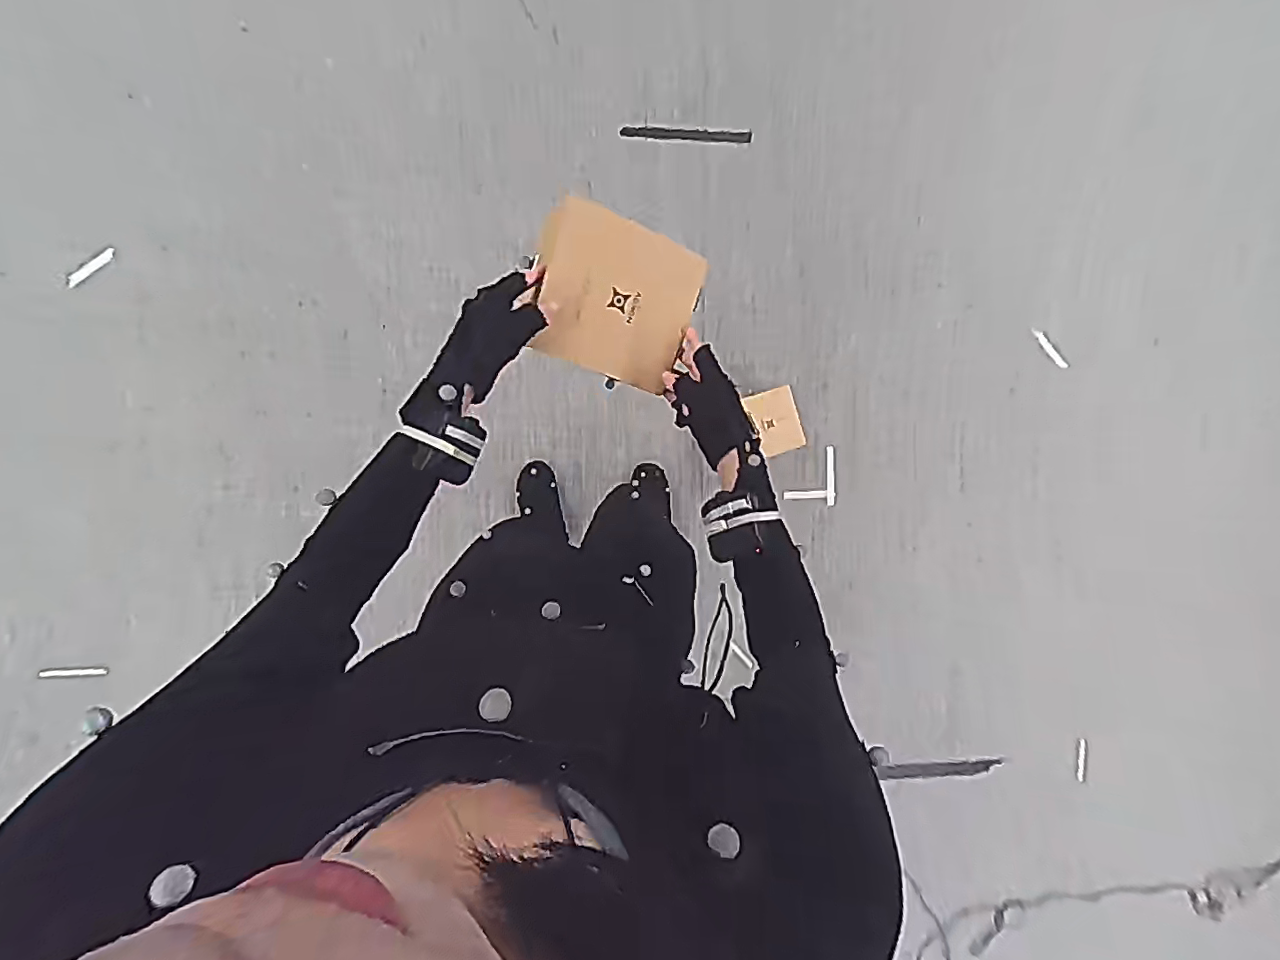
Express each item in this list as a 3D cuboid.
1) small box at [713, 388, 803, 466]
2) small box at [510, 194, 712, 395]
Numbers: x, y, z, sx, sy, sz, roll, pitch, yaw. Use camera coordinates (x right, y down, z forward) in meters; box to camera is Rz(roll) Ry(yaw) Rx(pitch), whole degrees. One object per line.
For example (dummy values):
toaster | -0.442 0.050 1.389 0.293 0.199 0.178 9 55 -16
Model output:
small box | 0.310 -0.141 1.471 0.179 0.176 0.168 -18 96 -6
small box | -0.046 -0.220 0.668 0.179 0.176 0.168 16 100 -24
